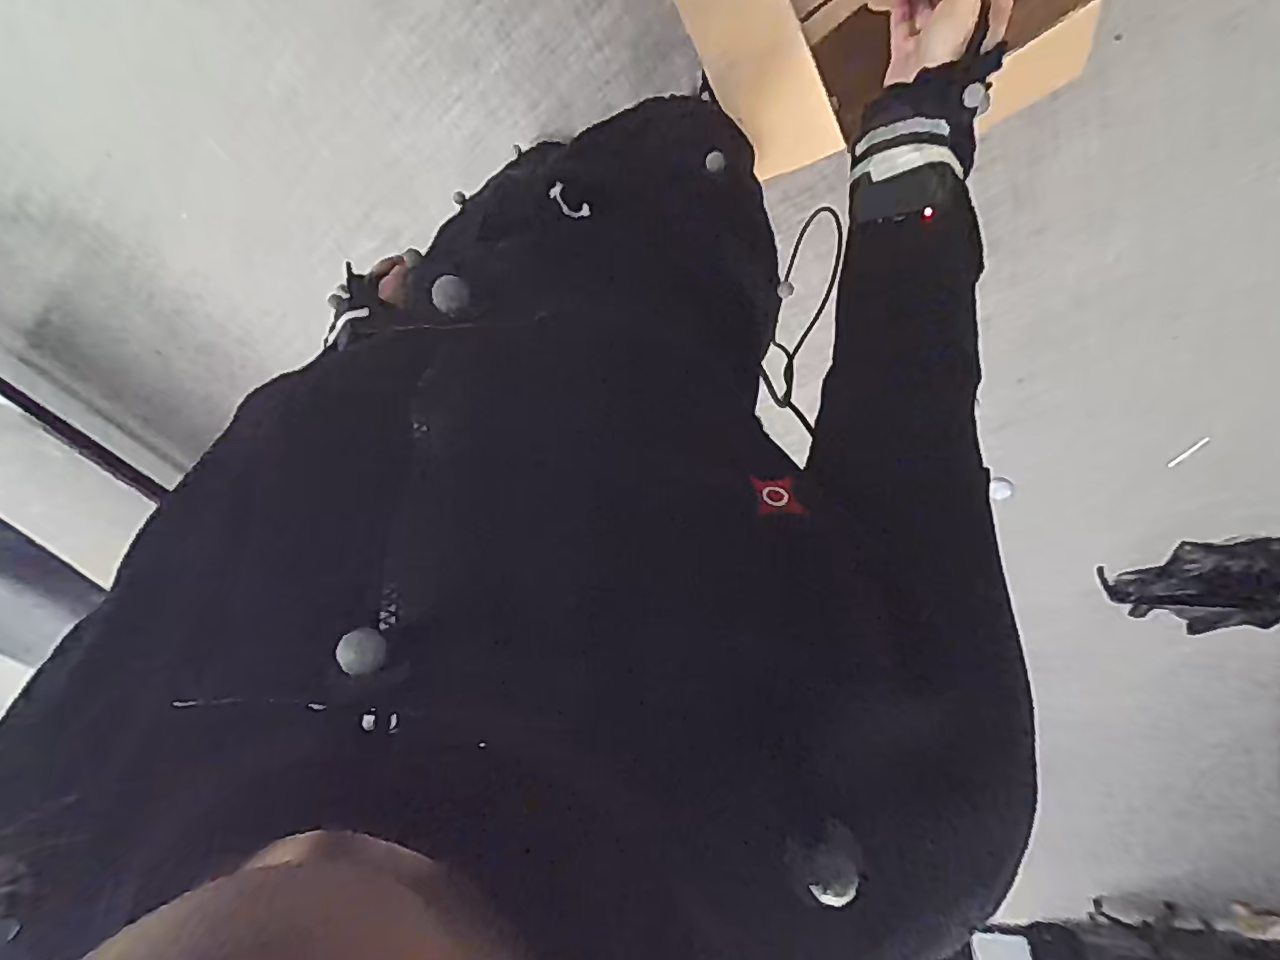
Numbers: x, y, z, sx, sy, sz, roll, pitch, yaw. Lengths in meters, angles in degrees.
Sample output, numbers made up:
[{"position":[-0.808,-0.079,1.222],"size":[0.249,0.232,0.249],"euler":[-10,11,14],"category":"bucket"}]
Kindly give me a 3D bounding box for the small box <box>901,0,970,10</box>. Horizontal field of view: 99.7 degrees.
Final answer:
[{"position":[0.204,-0.475,0.369],"size":[0.179,0.176,0.168],"euler":[28,124,-24],"category":"small box"}]
